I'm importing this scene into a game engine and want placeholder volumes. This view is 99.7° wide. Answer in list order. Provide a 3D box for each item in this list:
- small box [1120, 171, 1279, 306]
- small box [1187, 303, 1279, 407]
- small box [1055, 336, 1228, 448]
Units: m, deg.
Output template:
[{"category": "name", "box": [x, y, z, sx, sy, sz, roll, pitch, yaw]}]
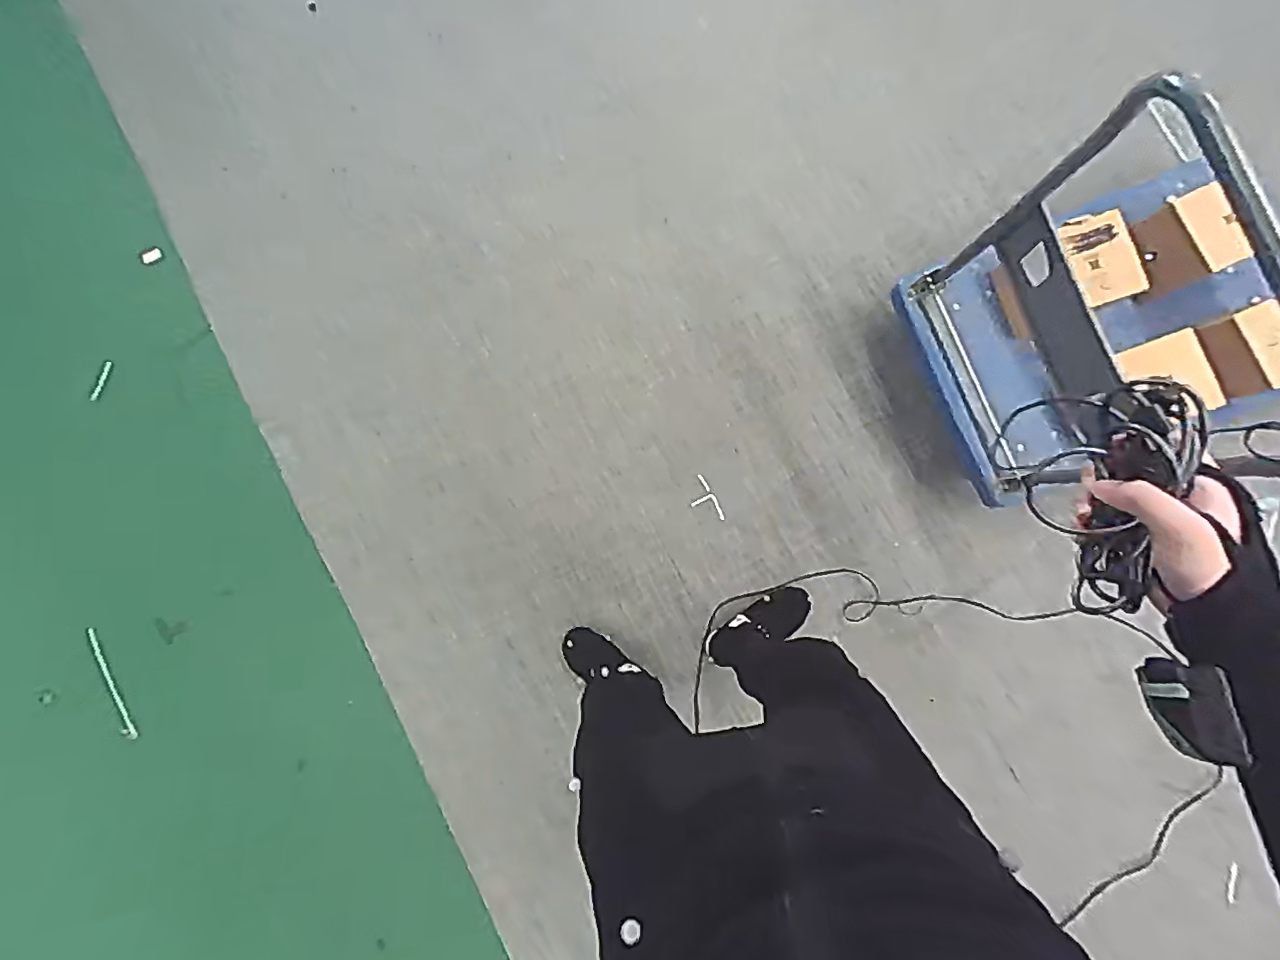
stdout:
[{"category": "small box", "box": [1.176, -0.497, 1.140, 0.179, 0.176, 0.168, -25, 86, 1]}, {"category": "small box", "box": [1.274, -0.260, 1.119, 0.179, 0.176, 0.168, -23, 85, 1]}, {"category": "small box", "box": [1.031, -0.175, 1.127, 0.179, 0.176, 0.168, -20, 86, 2]}]
